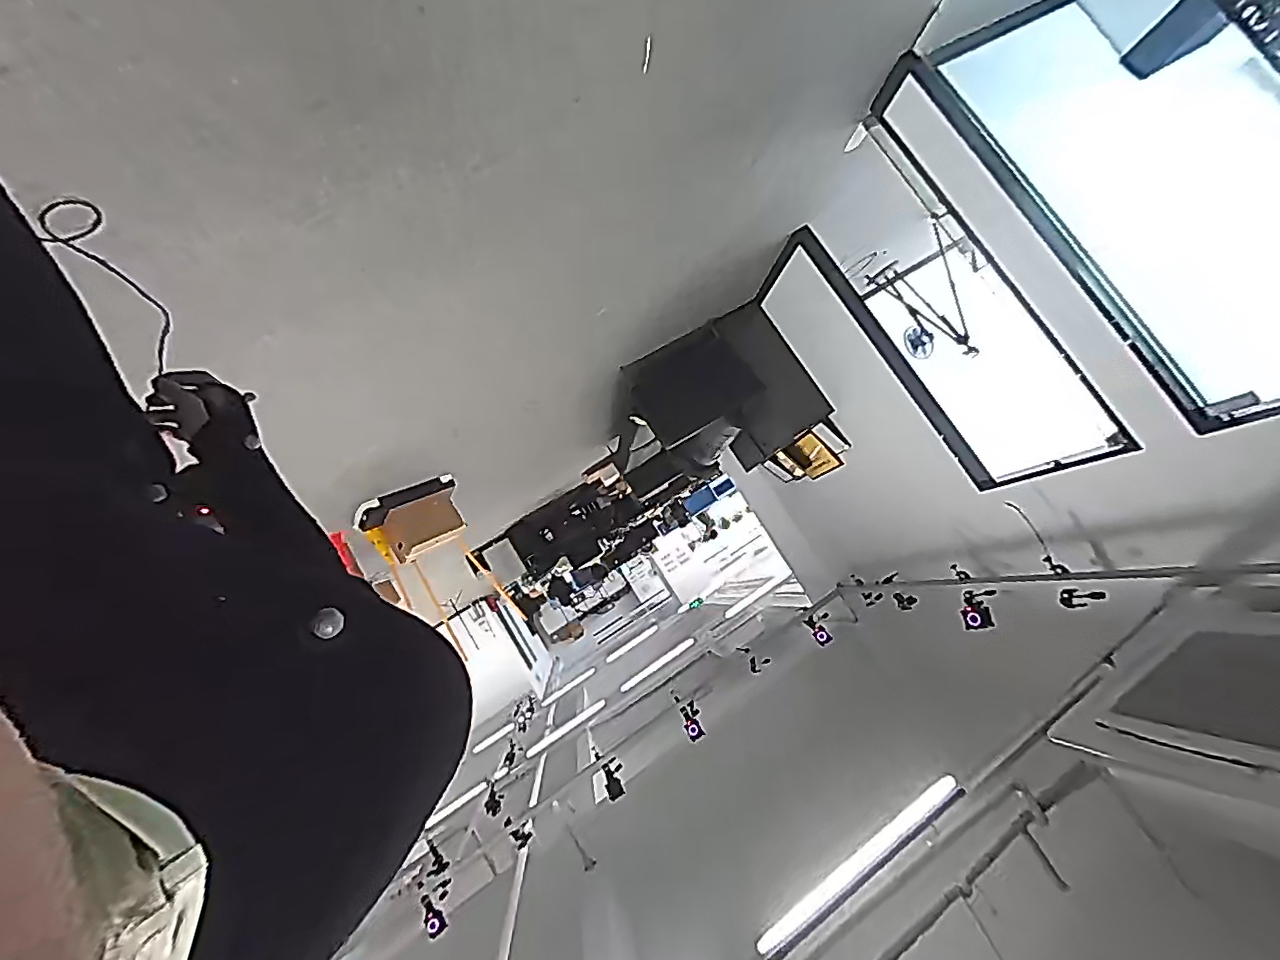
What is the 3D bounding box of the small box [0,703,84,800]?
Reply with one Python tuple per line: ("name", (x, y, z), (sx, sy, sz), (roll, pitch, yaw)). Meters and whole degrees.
("small box", (-1.610, 0.702, 1.380), (0.179, 0.176, 0.168), (-32, 173, -6))
